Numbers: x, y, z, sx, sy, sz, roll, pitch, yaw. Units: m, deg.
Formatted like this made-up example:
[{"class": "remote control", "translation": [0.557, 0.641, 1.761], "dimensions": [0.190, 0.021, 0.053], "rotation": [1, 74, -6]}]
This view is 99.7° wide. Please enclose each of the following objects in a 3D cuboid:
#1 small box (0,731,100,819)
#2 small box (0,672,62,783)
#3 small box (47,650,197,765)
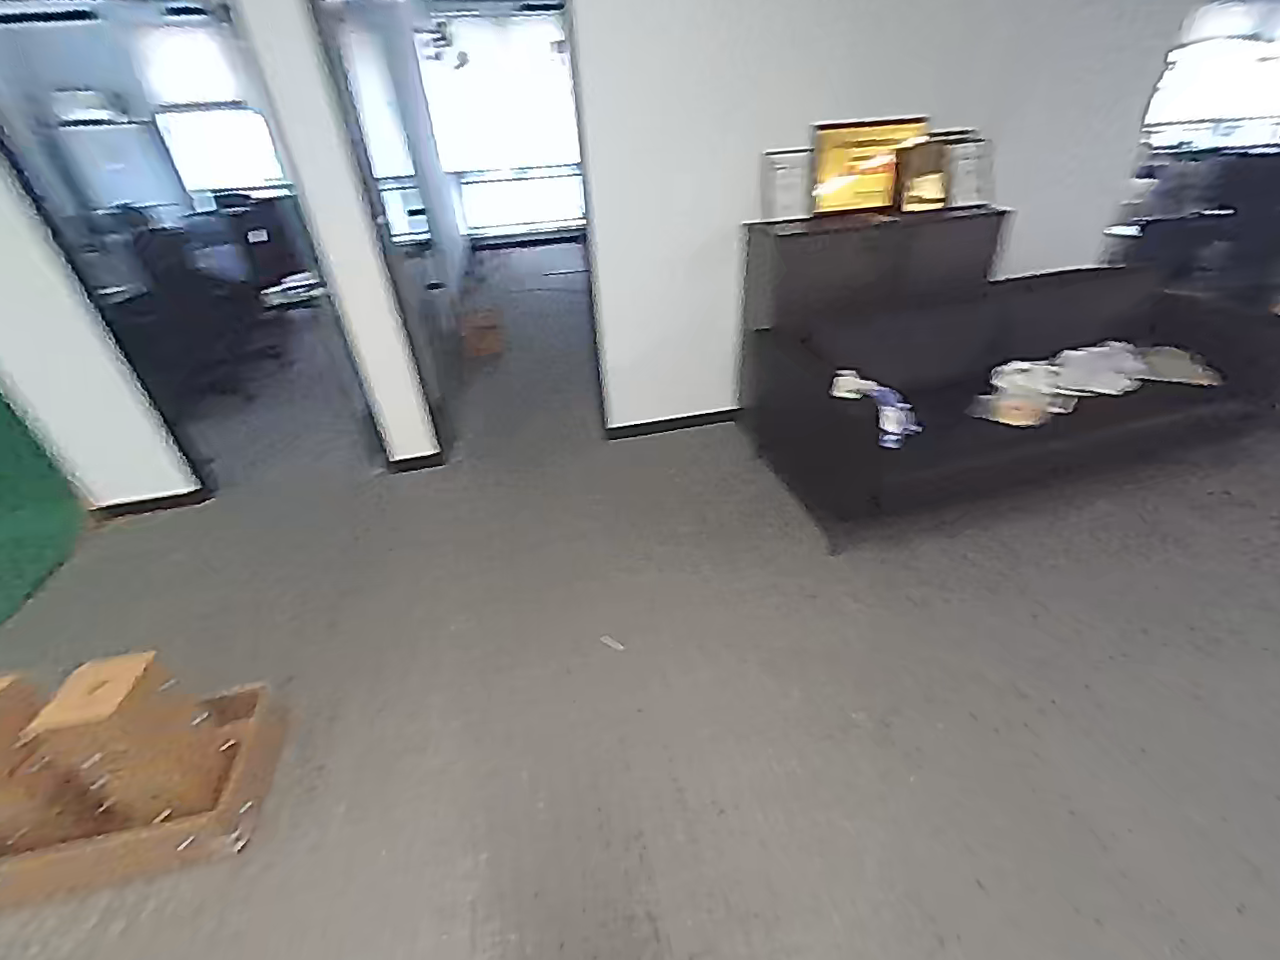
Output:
[{"class": "small box", "translation": [-1.503, 0.712, 1.341], "dimensions": [0.168, 0.176, 0.179], "rotation": [-5, 32, -4]}, {"class": "small box", "translation": [-1.503, 0.574, 1.250], "dimensions": [0.168, 0.176, 0.179], "rotation": [-5, 32, -2]}, {"class": "small box", "translation": [-1.209, 0.538, 1.285], "dimensions": [0.168, 0.176, 0.179], "rotation": [-9, 34, -6]}]
